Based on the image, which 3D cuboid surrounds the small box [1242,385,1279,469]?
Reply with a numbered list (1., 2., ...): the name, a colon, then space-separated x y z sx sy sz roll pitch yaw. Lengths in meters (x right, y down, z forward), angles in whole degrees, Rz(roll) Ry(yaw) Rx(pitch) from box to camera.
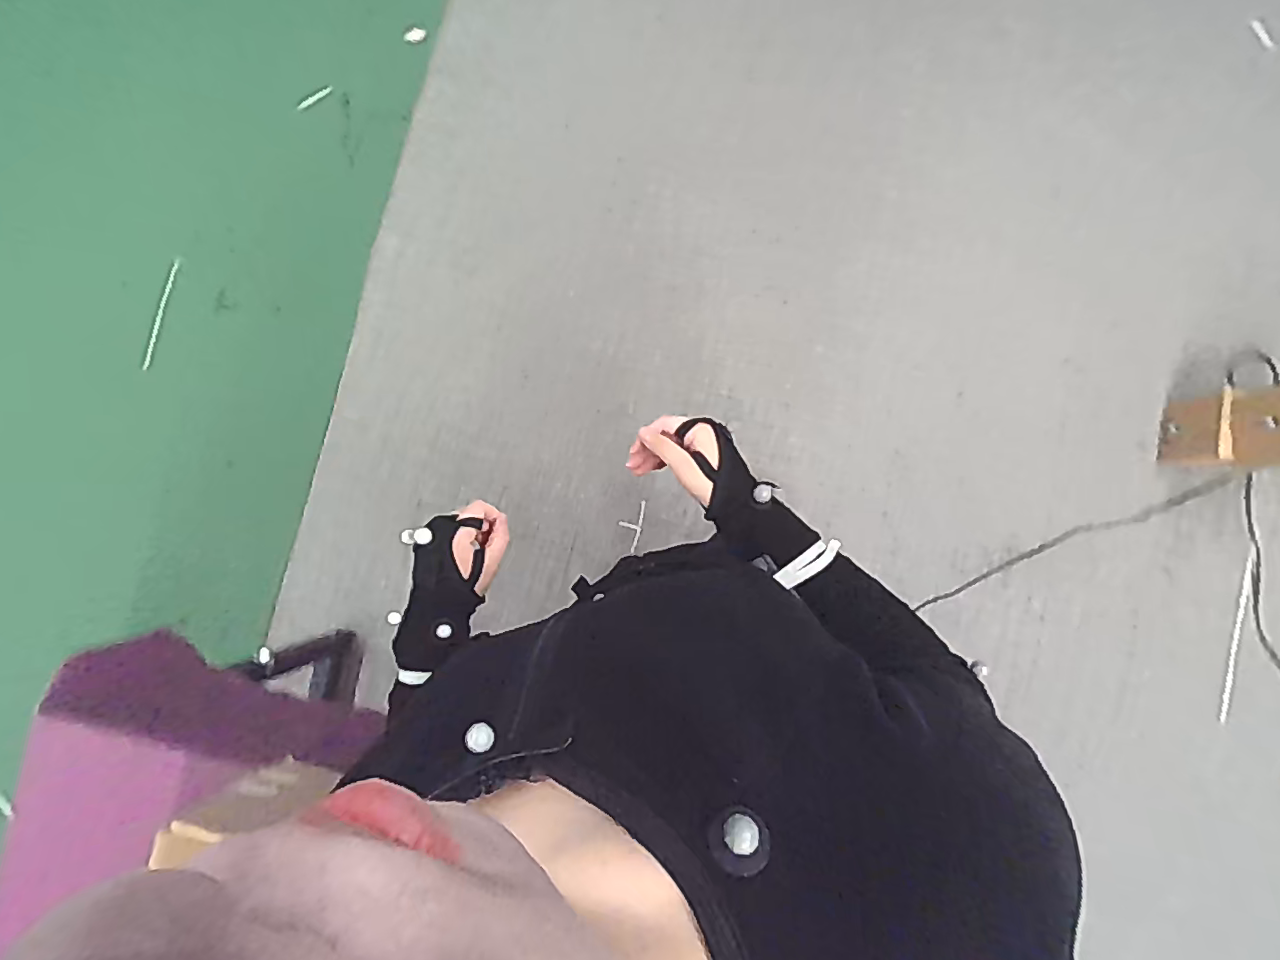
1. small box: 1.428 -0.114 1.126 0.168 0.176 0.179 0 85 7
